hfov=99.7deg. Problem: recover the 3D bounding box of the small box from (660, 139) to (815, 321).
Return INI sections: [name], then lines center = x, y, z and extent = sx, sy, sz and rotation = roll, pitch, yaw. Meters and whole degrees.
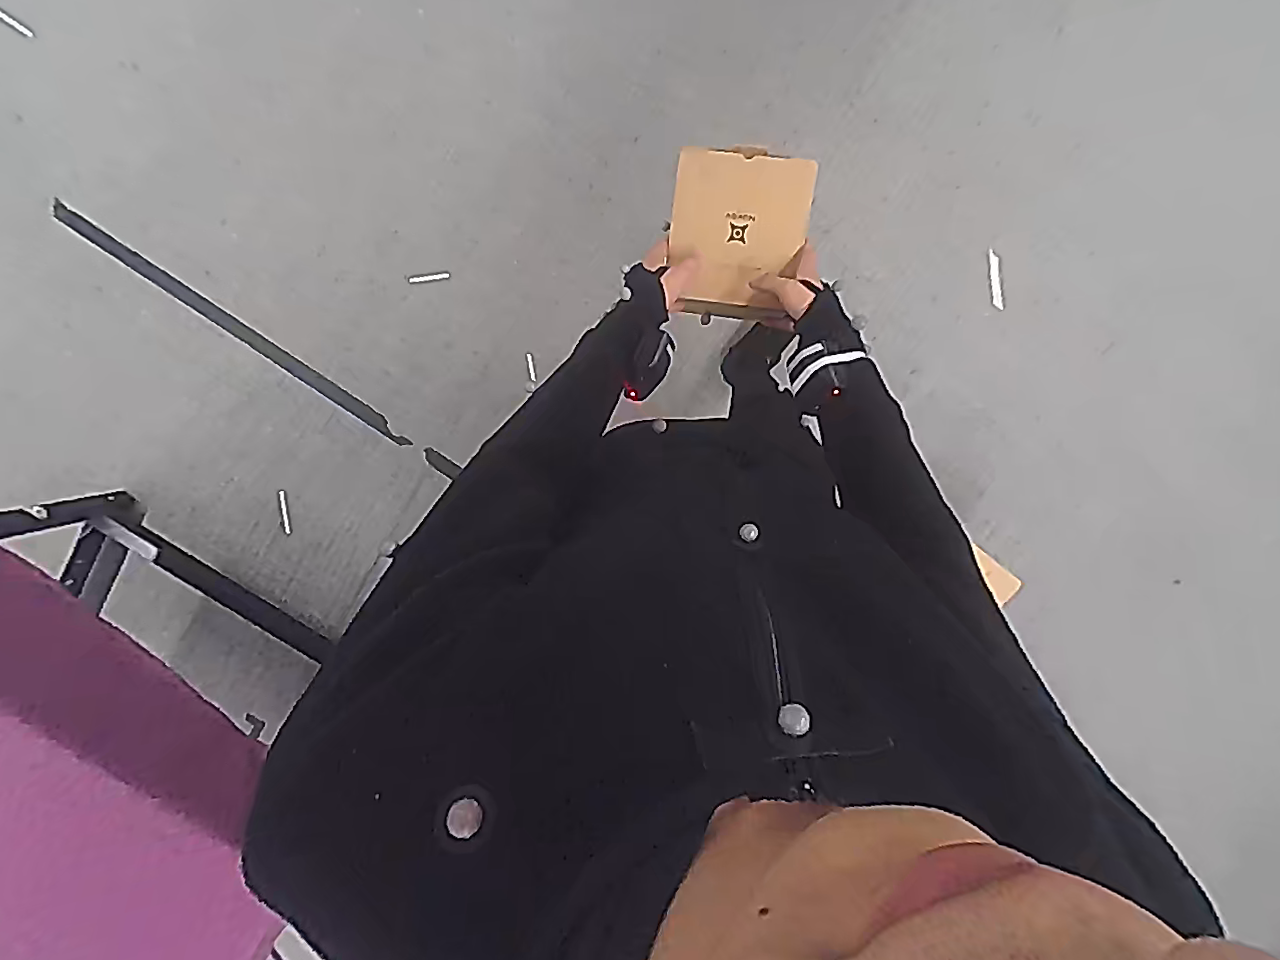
[small box]
center = 0.118, -0.321, 0.730
extent = 0.168, 0.176, 0.179
rotation = 8, 102, 1
